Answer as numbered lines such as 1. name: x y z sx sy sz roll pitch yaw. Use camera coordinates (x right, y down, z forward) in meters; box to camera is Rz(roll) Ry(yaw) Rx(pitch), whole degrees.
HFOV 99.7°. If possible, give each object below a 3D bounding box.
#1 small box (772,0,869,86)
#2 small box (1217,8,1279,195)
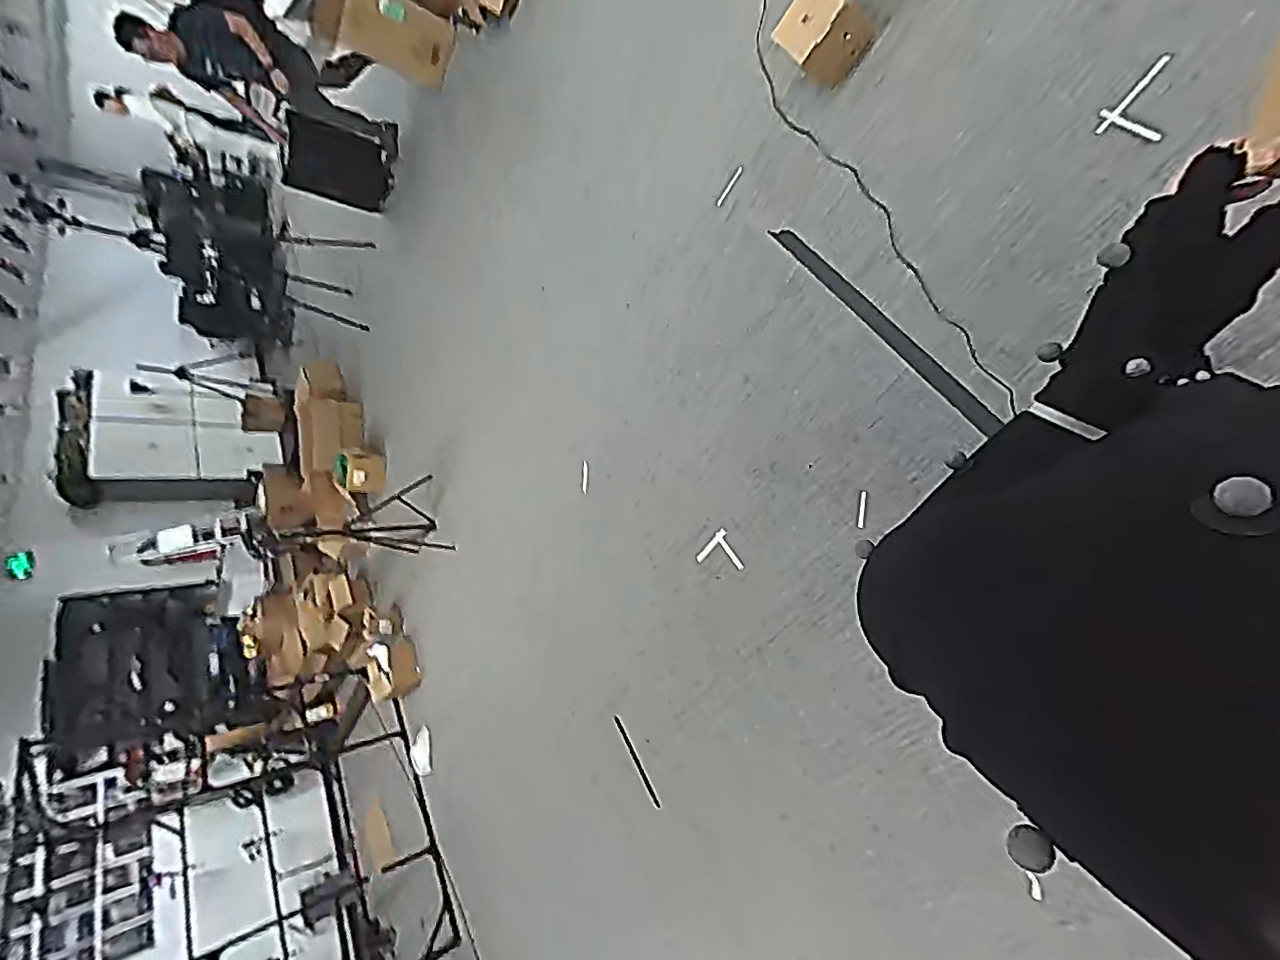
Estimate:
1. small box: 0.522 -1.287 1.558 0.168 0.176 0.179 -45 59 36
2. small box: 0.436 -0.234 0.231 0.179 0.168 0.176 -80 -3 -78
